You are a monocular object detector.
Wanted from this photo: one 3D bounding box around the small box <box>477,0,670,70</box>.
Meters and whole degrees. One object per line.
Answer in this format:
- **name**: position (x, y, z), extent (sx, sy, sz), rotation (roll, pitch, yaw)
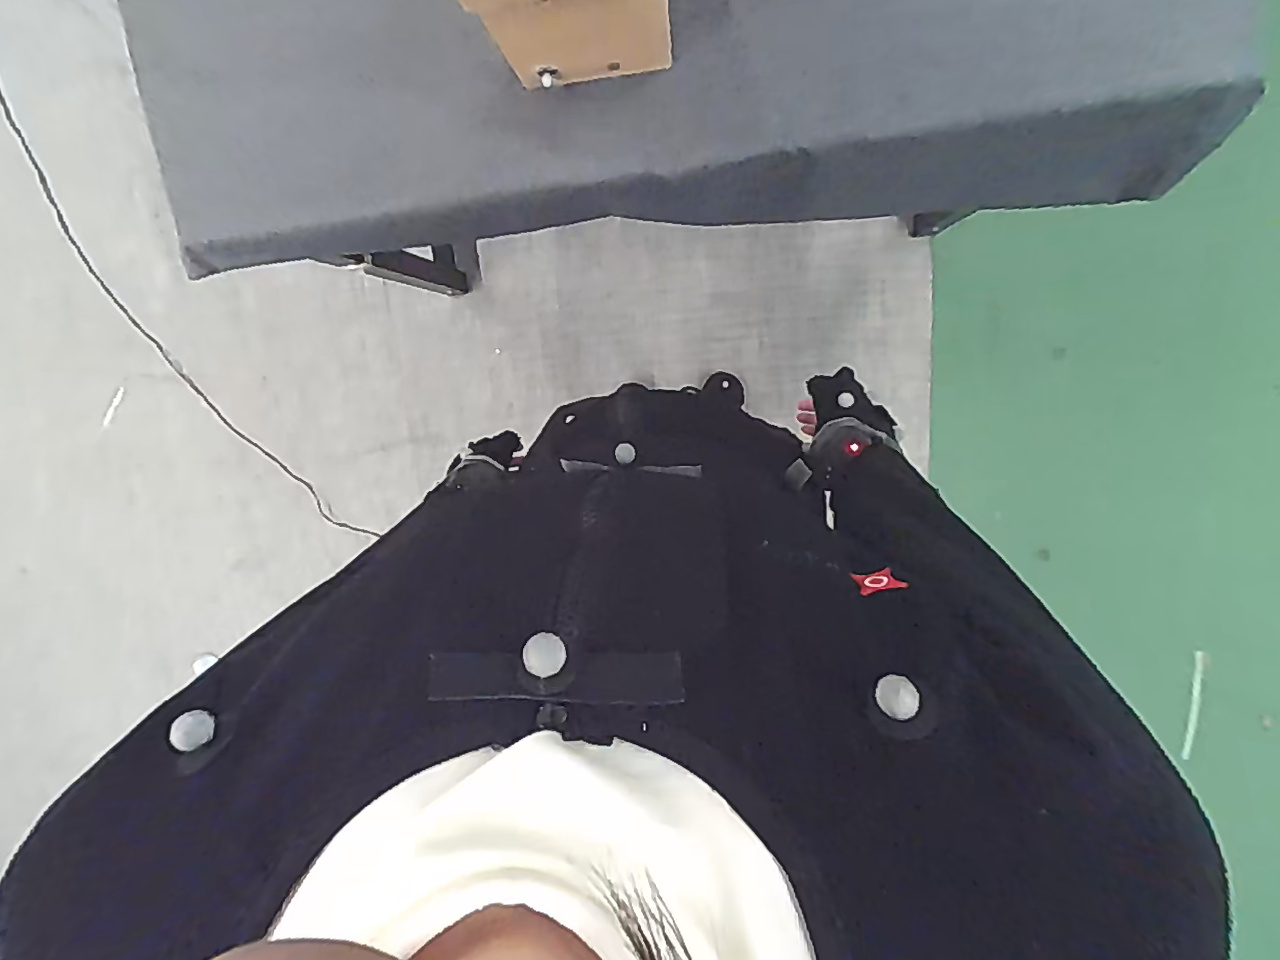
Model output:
- **small box**: position (-0.062, -0.519, 0.502), extent (0.168, 0.176, 0.179), rotation (-3, 101, 6)
